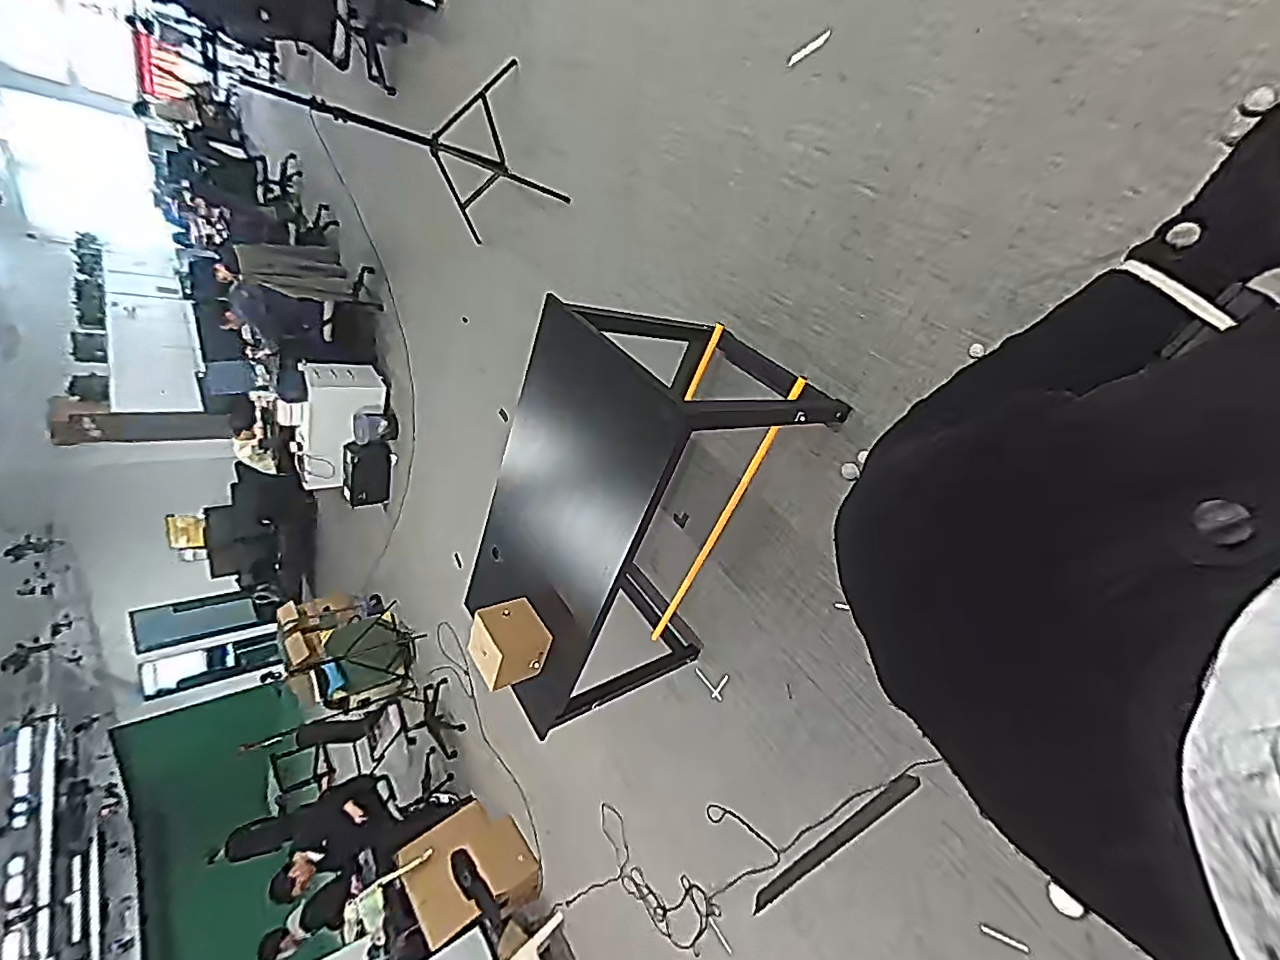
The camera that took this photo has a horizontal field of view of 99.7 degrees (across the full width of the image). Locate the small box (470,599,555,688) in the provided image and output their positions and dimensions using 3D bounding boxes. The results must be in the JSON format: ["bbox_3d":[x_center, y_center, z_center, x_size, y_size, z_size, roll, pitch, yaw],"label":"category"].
[{"bbox_3d":[-0.381,0.476,1.611,0.179,0.176,0.168,43,126,35],"label":"small box"}]
